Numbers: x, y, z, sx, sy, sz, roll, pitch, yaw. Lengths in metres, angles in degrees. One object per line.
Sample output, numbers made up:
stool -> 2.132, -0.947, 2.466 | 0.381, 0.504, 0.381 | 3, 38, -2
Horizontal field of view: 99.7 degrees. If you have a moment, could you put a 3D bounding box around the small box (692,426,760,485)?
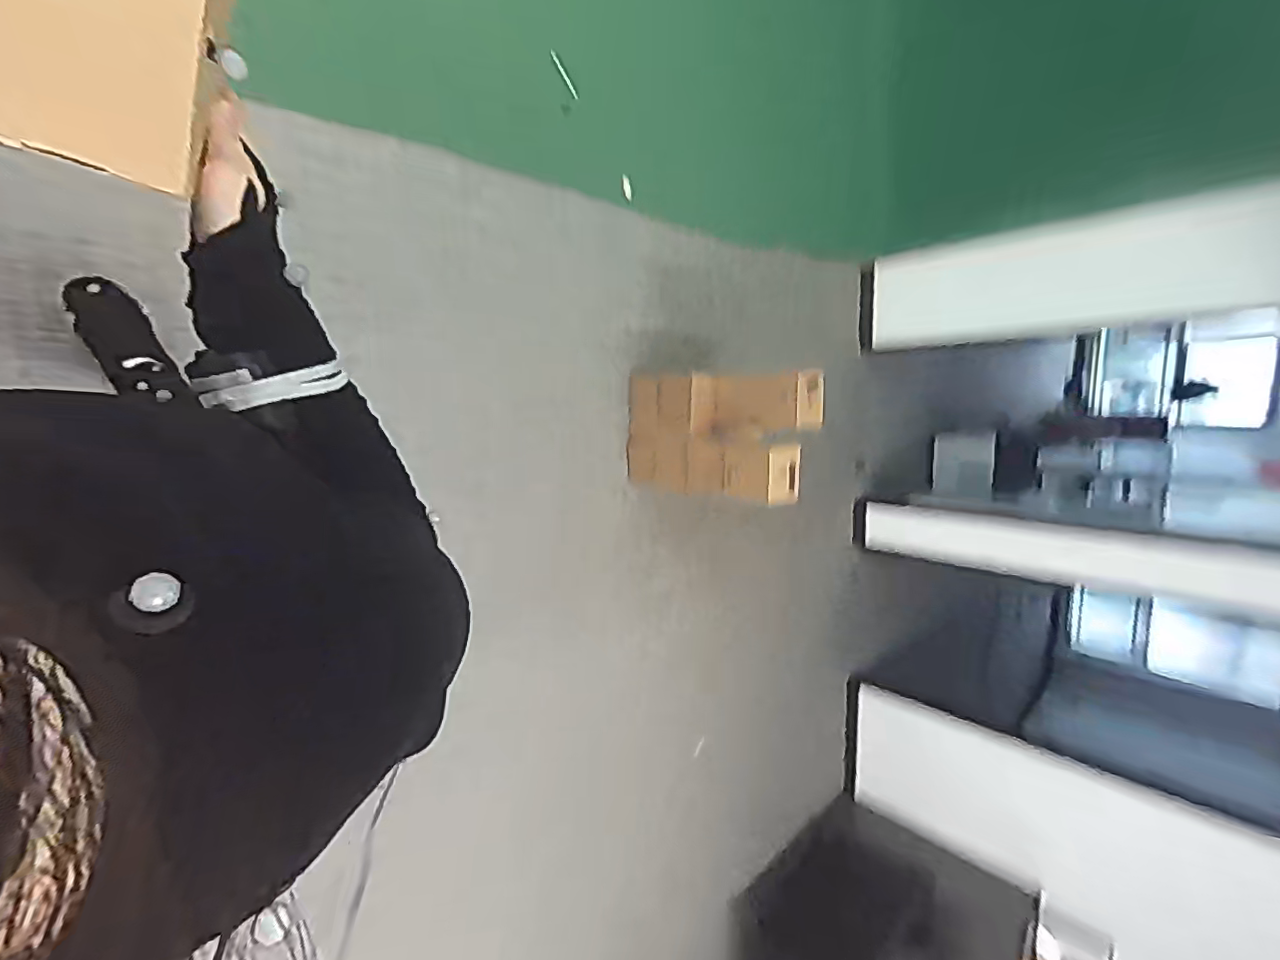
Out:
small box -> 0.287, -0.087, 1.826 | 0.168, 0.176, 0.179 | -10, 103, -44

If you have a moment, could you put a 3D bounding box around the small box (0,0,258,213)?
small box -> -0.316, -0.275, 0.293 | 0.168, 0.176, 0.179 | 9, 113, -37

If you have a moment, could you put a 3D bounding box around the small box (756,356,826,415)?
small box -> 0.490, -0.304, 1.761 | 0.168, 0.176, 0.179 | -9, 101, -43
